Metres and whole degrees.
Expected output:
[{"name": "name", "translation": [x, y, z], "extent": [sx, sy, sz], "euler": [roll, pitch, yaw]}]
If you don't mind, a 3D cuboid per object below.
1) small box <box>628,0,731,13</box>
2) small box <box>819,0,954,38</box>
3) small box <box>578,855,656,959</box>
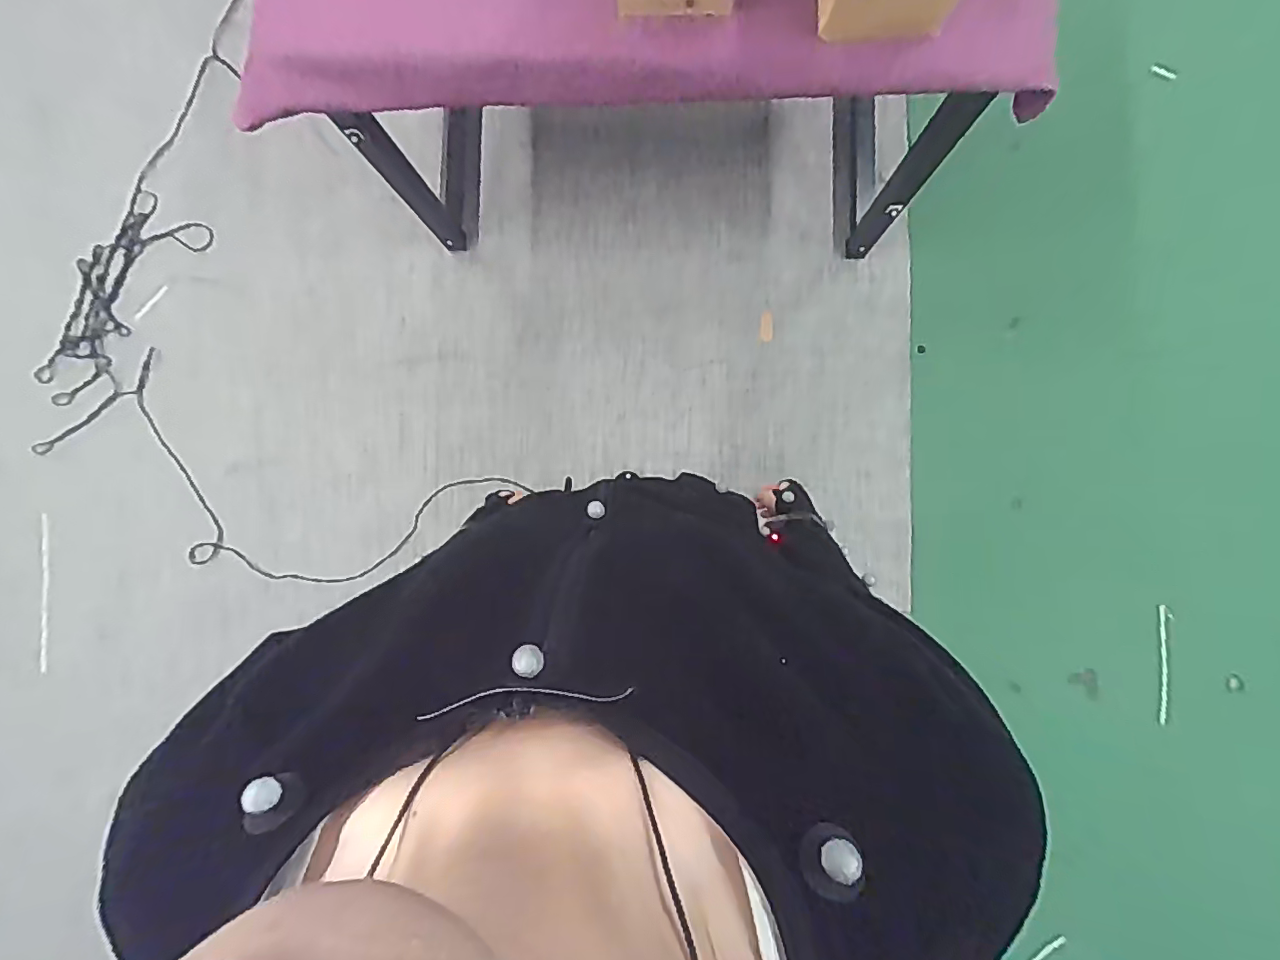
[{"name": "small box", "translation": [0.054, -0.784, 0.734], "extent": [0.168, 0.176, 0.179], "euler": [3, 87, 3]}, {"name": "small box", "translation": [0.350, -0.737, 0.718], "extent": [0.179, 0.176, 0.168], "euler": [-1, 89, 4]}, {"name": "small box", "translation": [-0.052, 1.082, 1.366], "extent": [0.179, 0.176, 0.168], "euler": [-5, 86, 4]}]
